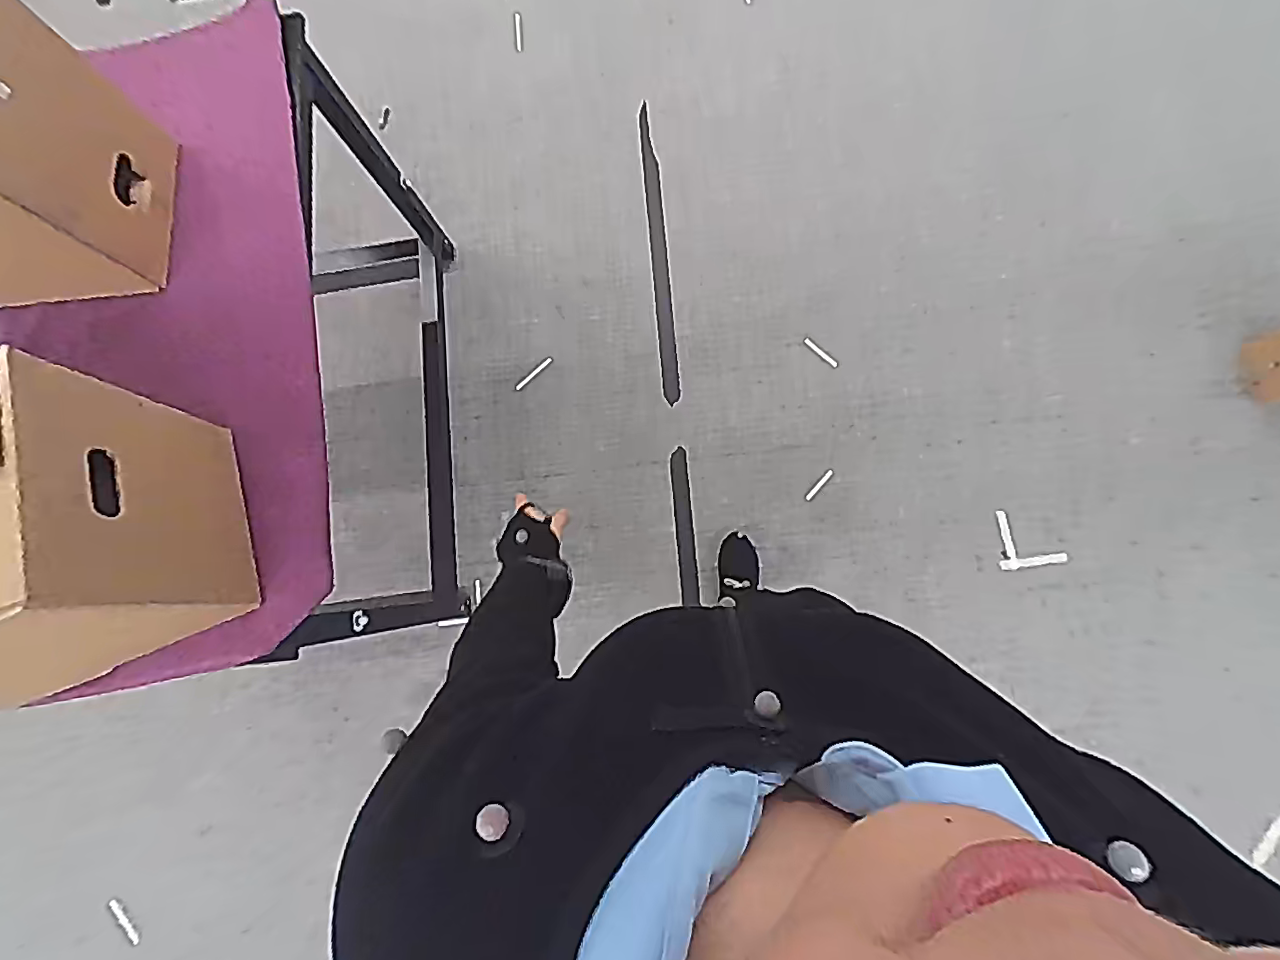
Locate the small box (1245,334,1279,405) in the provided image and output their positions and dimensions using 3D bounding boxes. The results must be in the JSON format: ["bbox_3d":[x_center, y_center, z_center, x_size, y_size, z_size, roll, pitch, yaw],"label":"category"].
[{"bbox_3d":[1.728,-0.301,1.386,0.179,0.176,0.168,-8,79,3],"label":"small box"}]
